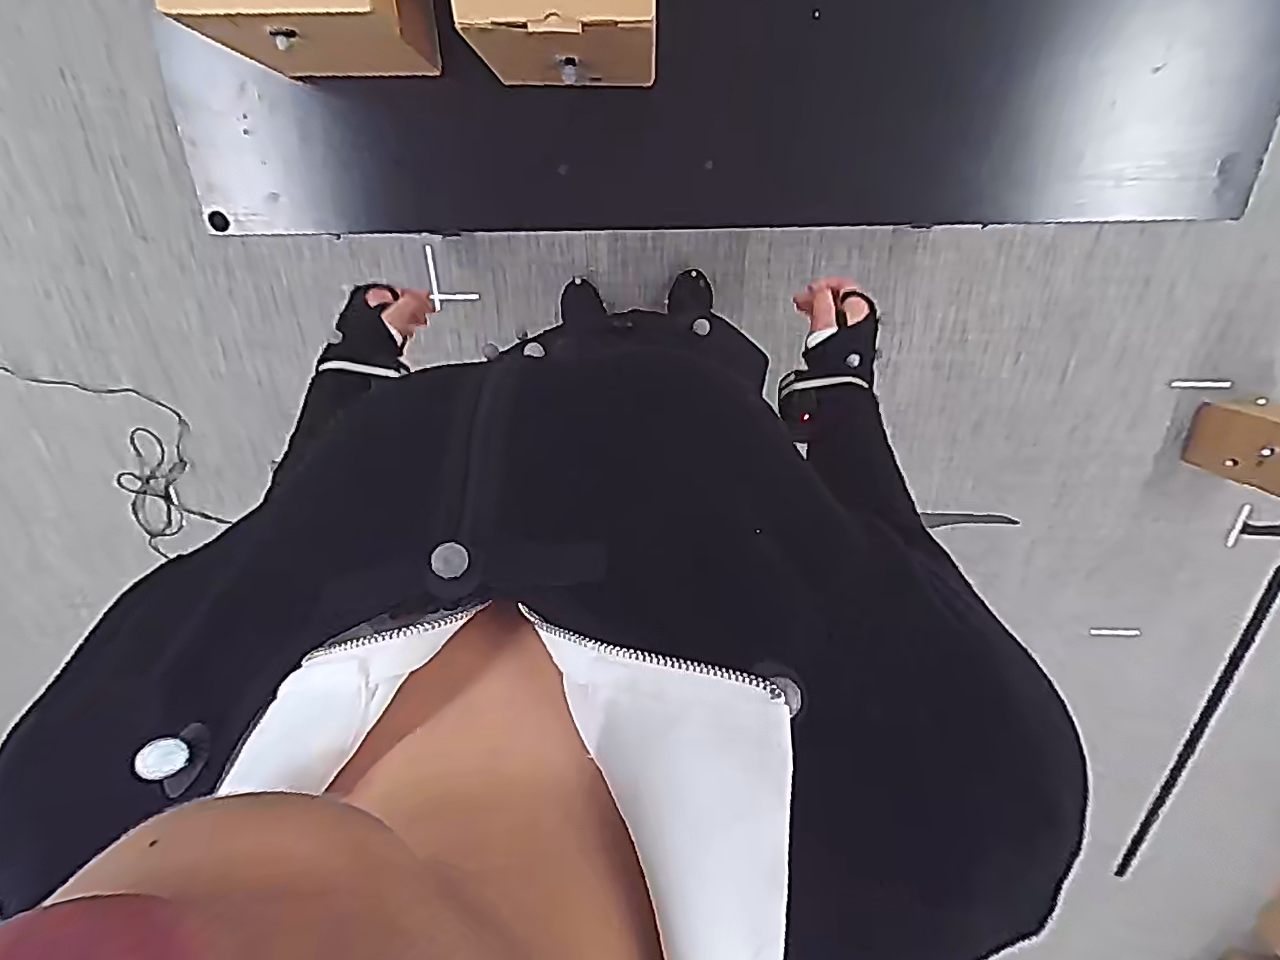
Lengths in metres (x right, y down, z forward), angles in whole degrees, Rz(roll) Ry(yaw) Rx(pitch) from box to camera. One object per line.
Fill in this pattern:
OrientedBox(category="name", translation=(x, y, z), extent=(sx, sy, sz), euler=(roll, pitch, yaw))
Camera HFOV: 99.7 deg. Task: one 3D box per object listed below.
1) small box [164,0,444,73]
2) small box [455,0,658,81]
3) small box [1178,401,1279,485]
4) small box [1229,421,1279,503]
OrientedBox(category="small box", translation=(-0.297, -0.486, 0.482), extent=(0.179, 0.176, 0.168), euler=(0, 113, 0))
OrientedBox(category="small box", translation=(-0.065, -0.479, 0.481), extent=(0.168, 0.176, 0.179), euler=(1, 114, 0))
OrientedBox(category="small box", translation=(1.565, -0.098, 1.399), extent=(0.168, 0.176, 0.179), euler=(-1, 113, 2))
OrientedBox(category="small box", translation=(1.557, -0.037, 1.249), extent=(0.179, 0.176, 0.168), euler=(0, 112, 3))
